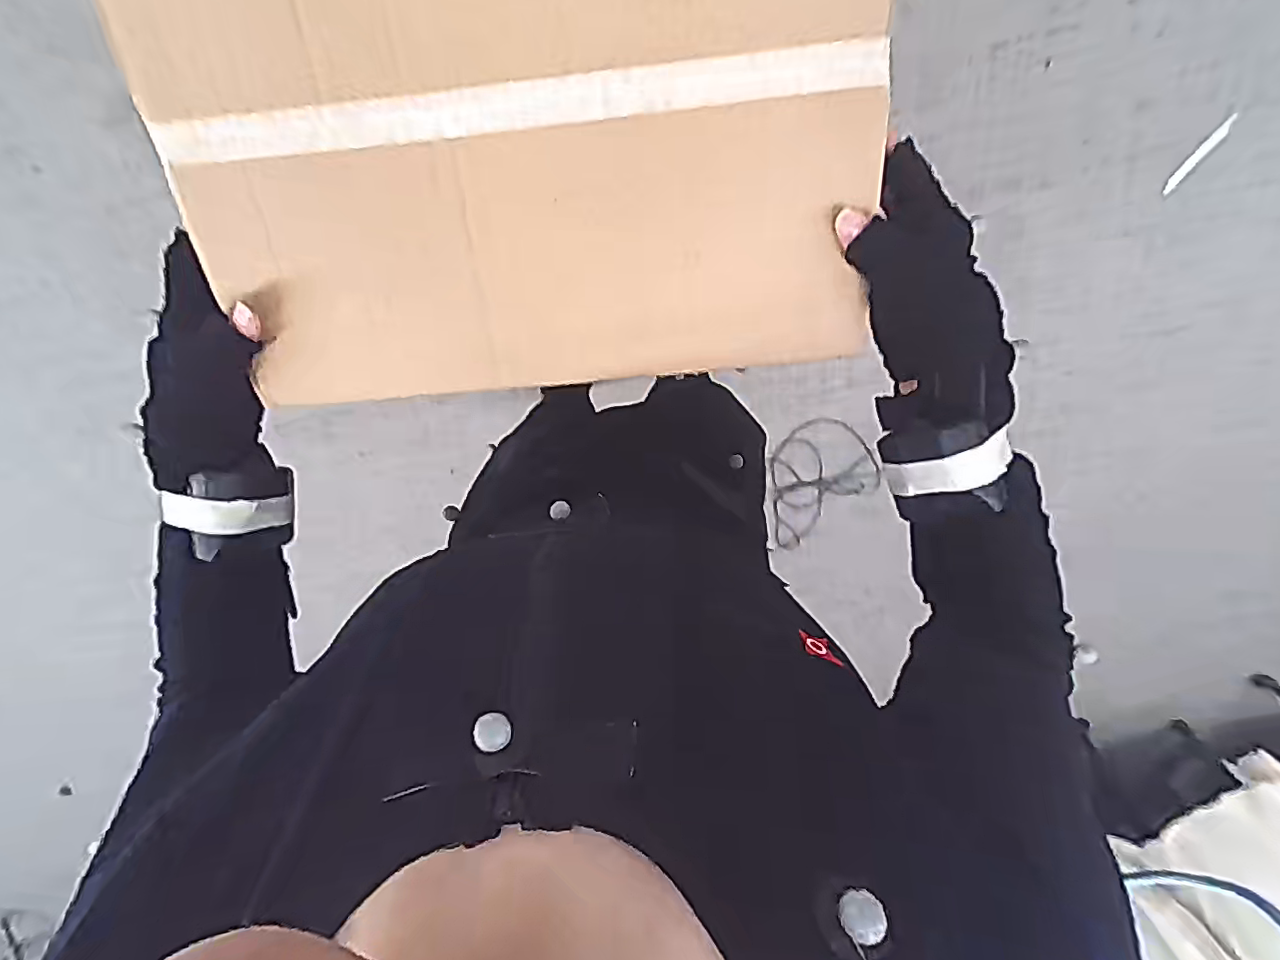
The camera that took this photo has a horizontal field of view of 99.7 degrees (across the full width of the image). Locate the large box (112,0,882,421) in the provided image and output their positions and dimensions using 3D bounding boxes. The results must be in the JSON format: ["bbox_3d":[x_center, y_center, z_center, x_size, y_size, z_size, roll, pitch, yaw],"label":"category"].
[{"bbox_3d":[-0.066,-0.261,0.438,0.408,0.320,0.320,-5,115,2],"label":"large box"}]
